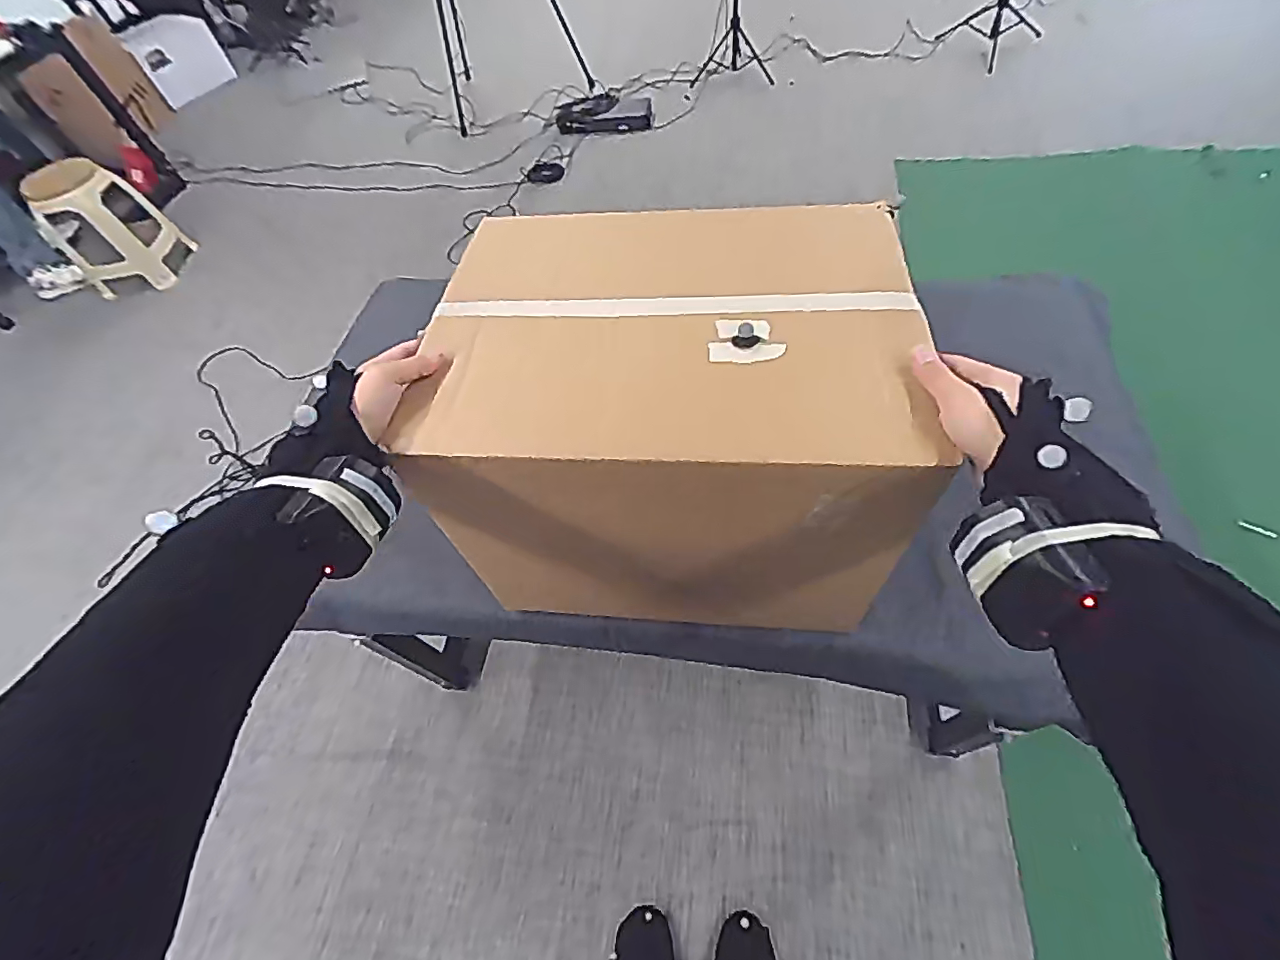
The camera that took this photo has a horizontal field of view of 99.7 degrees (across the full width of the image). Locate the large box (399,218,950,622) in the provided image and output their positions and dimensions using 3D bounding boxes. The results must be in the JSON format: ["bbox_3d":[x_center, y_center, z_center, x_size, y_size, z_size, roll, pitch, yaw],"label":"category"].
[{"bbox_3d":[0.036,-0.053,0.589,0.408,0.320,0.320,2,55,7],"label":"large box"}]
